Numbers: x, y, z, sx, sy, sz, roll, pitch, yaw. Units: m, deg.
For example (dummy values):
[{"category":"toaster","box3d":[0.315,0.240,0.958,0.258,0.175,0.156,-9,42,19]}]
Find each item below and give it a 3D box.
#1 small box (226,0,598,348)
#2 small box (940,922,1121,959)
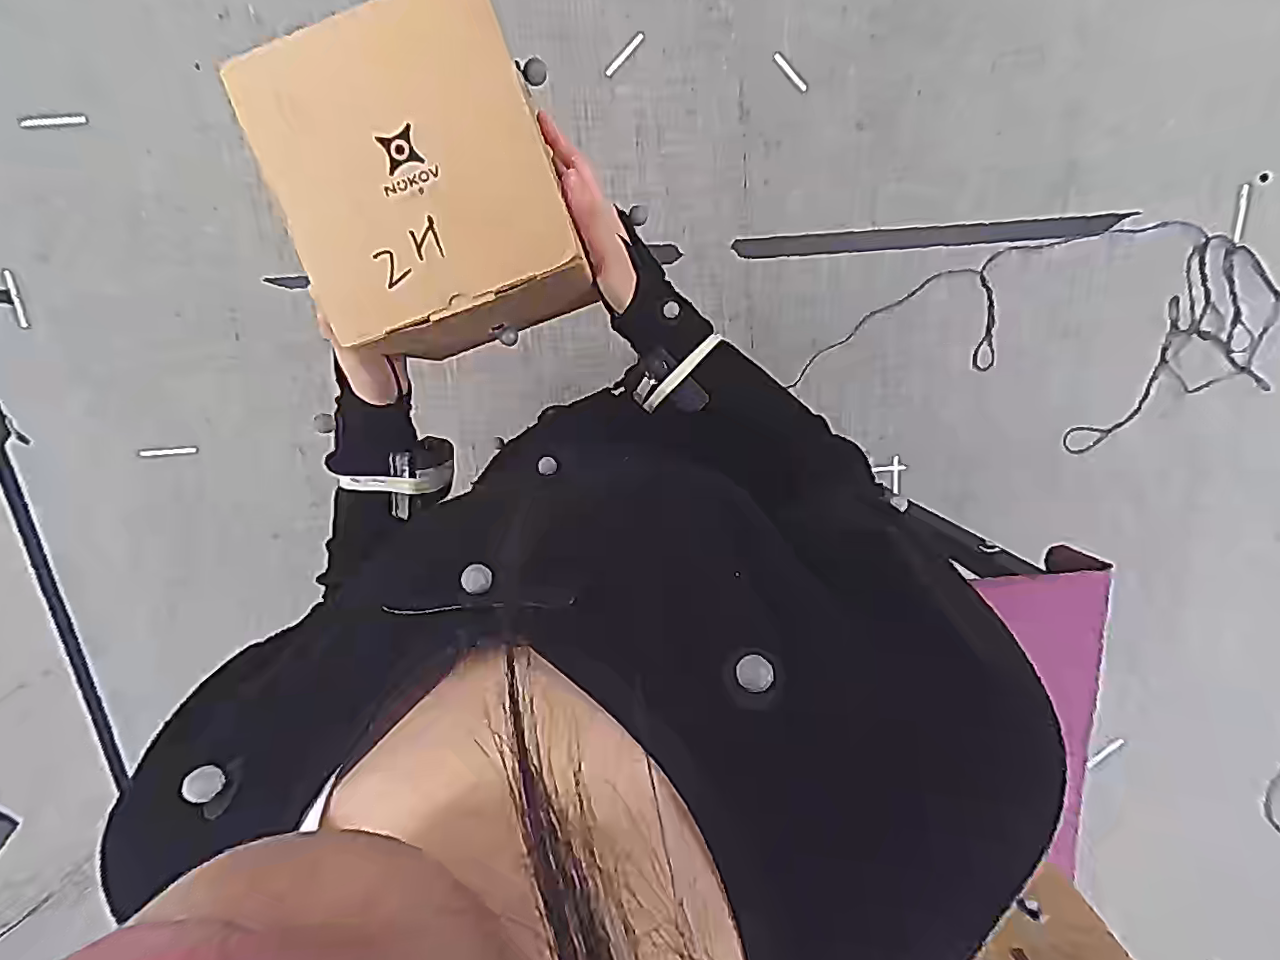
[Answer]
[{"category":"small box","box3d":[-0.137,-0.209,0.399,0.168,0.176,0.179,-19,100,3]},{"category":"small box","box3d":[0.387,0.546,0.481,0.168,0.176,0.179,-4,103,-1]}]
